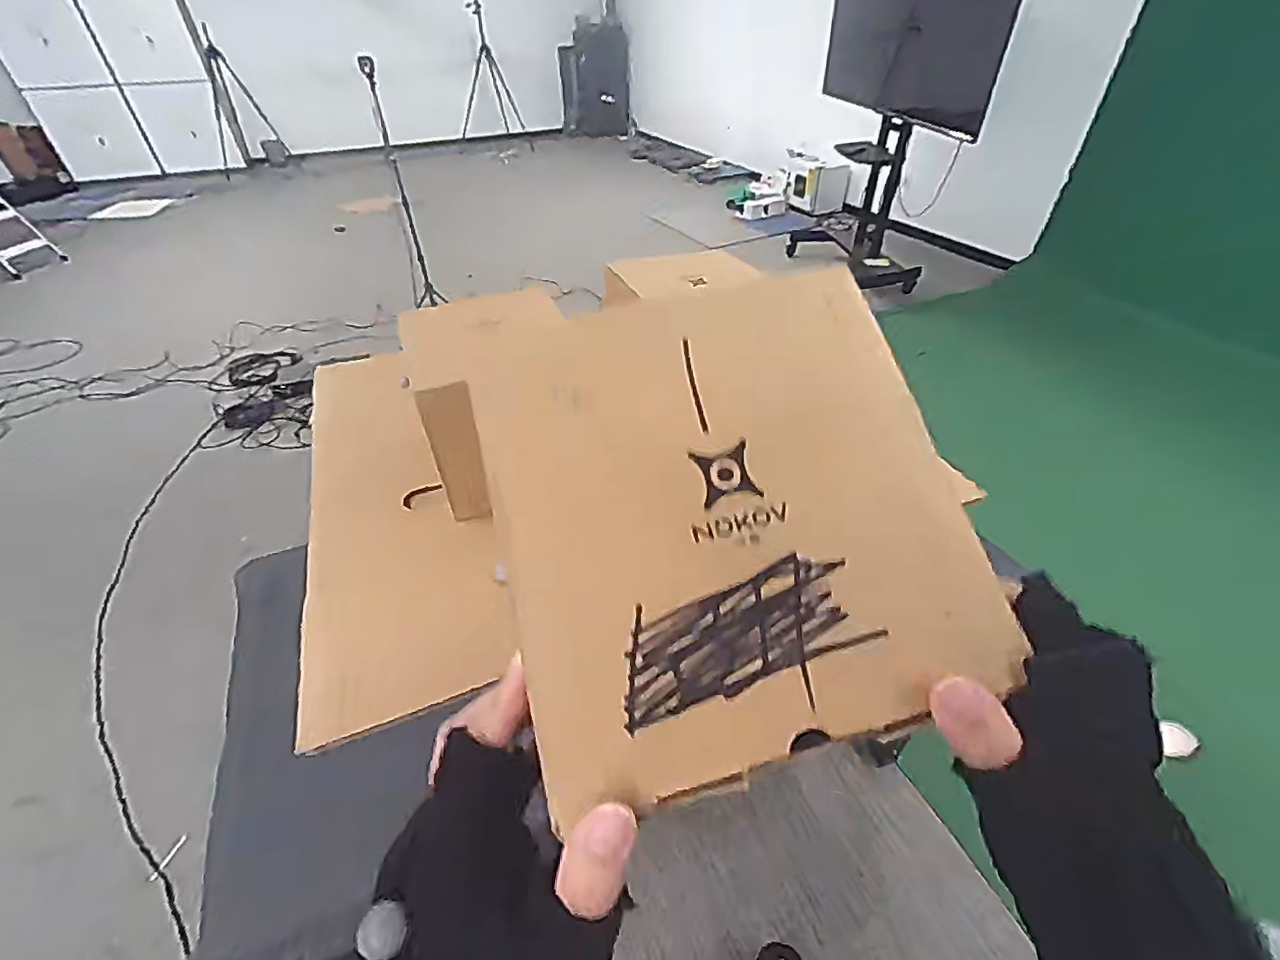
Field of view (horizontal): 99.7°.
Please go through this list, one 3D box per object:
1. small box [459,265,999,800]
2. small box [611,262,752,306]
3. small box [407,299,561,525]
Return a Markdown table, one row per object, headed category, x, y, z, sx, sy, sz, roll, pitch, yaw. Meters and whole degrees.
| category | x | y | z | sx | sy | sz | roll | pitch | yaw |
| --- | --- | --- | --- | --- | --- | --- | --- | --- | --- |
| small box | 0.023 | 0.028 | 0.278 | 0.168 | 0.176 | 0.179 | -14 | 72 | -8 |
| small box | 0.067 | -0.159 | 0.685 | 0.168 | 0.176 | 0.179 | -15 | 41 | -16 |
| small box | -0.148 | -0.079 | 0.611 | 0.168 | 0.176 | 0.179 | -18 | 45 | -16 |
